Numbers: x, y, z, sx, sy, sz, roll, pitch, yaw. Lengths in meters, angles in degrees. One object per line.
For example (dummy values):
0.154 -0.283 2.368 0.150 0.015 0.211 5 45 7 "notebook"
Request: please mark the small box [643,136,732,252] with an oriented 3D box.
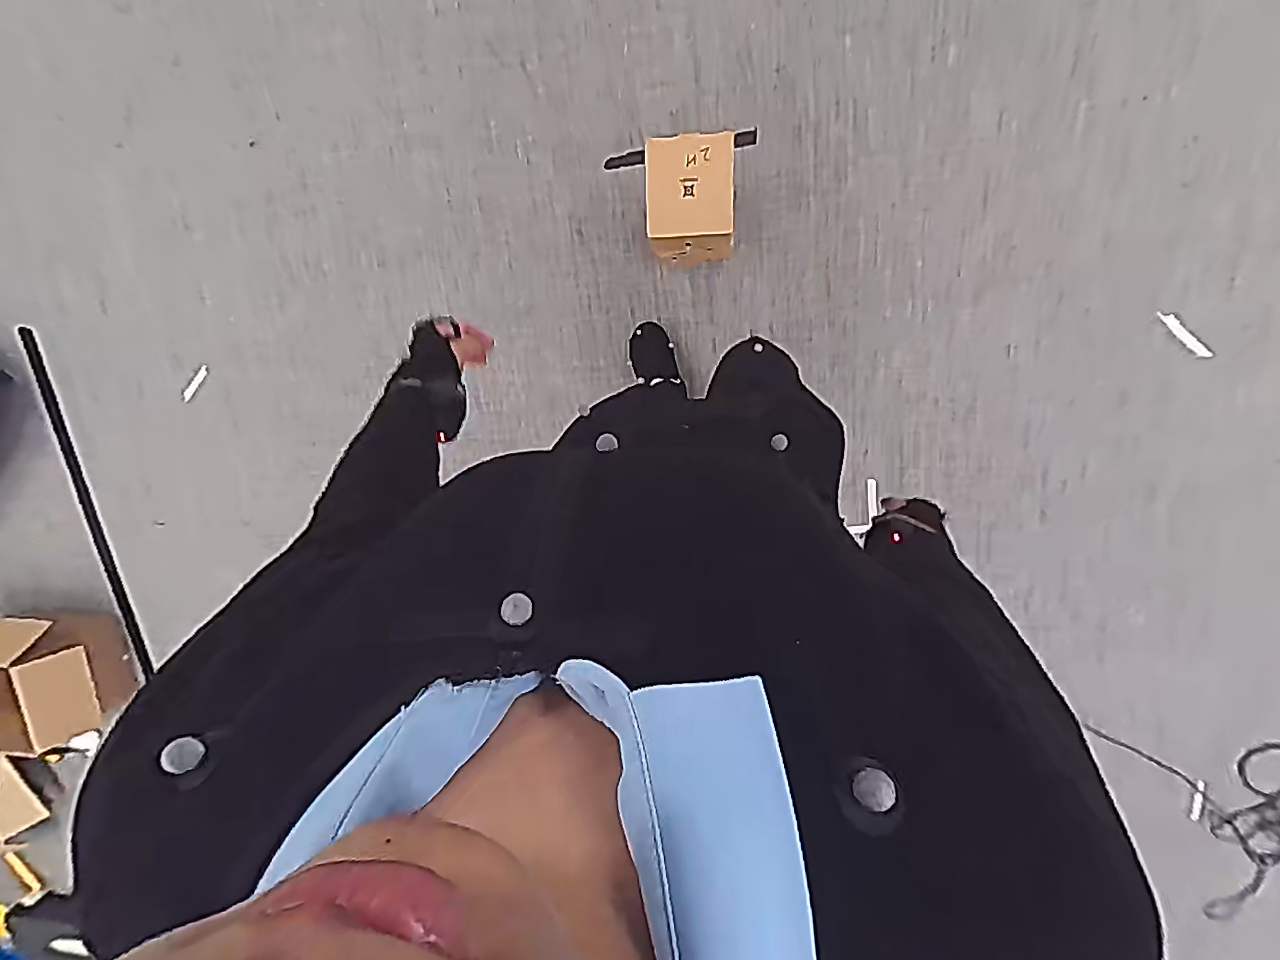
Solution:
0.099 -0.563 1.088 0.168 0.176 0.179 0 104 7 "small box"
